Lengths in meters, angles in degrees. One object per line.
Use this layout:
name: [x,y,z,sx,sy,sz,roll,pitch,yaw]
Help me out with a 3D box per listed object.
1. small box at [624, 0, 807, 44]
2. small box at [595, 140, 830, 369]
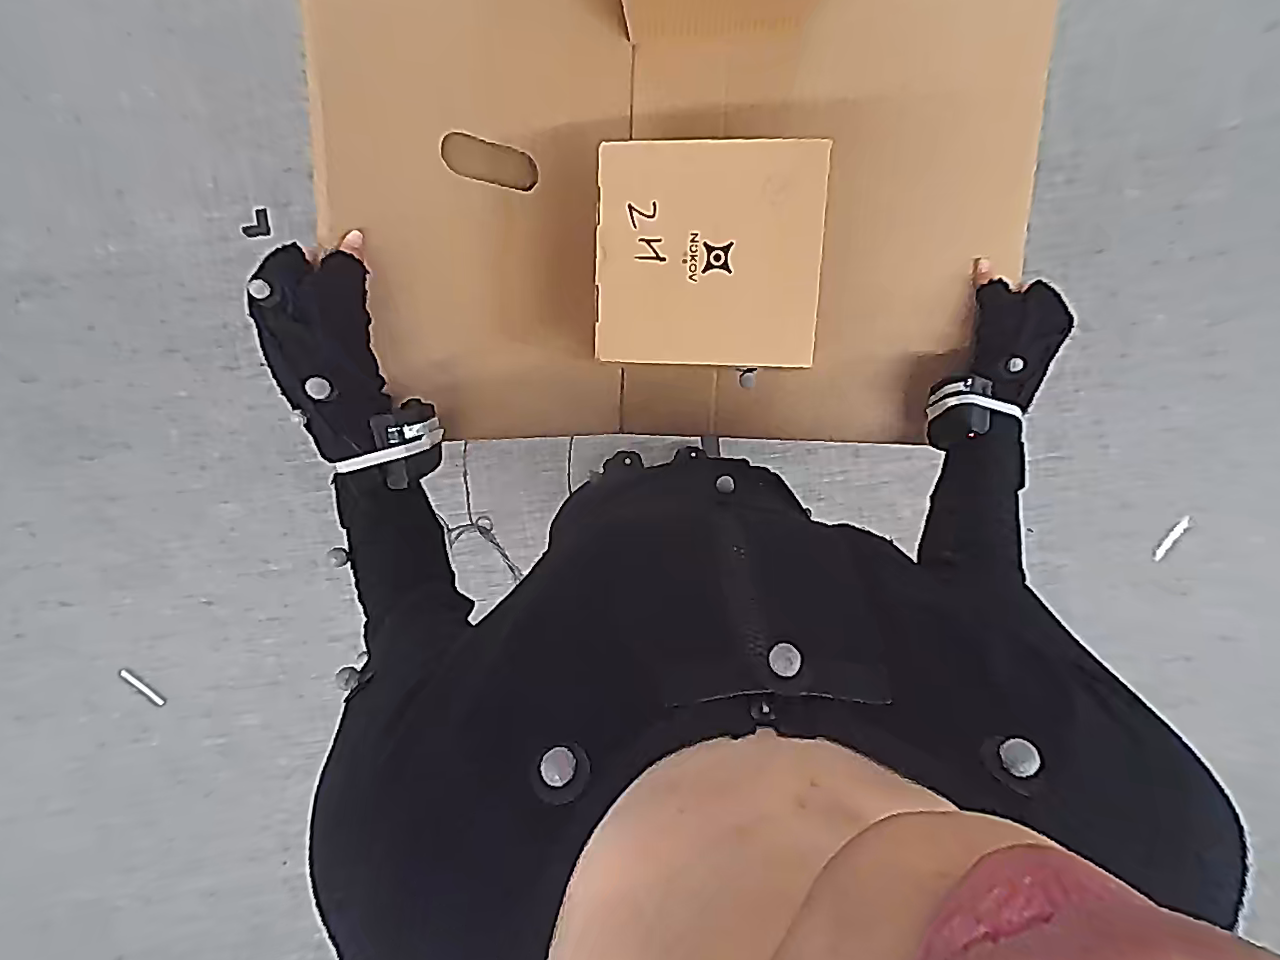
small box: [0.068,-0.505,0.452,0.179,0.176,0.168,2,100,6]
small box: [0.061,-0.192,0.506,0.179,0.176,0.168,4,100,6]
